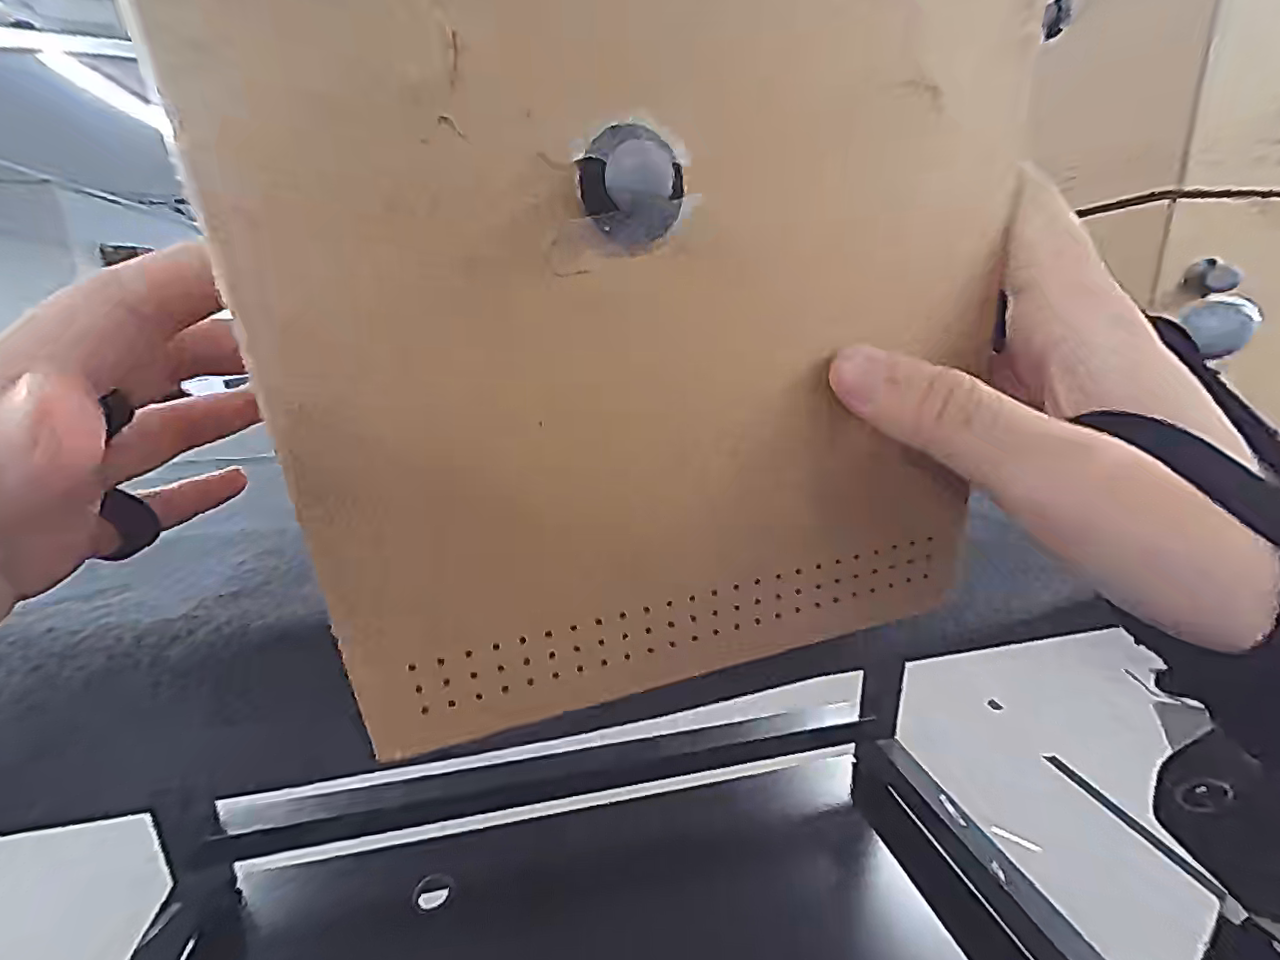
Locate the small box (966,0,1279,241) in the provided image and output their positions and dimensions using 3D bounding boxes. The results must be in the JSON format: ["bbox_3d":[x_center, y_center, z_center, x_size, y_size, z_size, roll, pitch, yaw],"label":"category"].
[{"bbox_3d":[0.350,-0.265,0.367,0.168,0.176,0.179,-5,16,-8],"label":"small box"}]

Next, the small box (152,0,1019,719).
[{"bbox_3d":[-0.009,-0.047,0.198,0.179,0.176,0.168,-11,22,-14],"label":"small box"}]
